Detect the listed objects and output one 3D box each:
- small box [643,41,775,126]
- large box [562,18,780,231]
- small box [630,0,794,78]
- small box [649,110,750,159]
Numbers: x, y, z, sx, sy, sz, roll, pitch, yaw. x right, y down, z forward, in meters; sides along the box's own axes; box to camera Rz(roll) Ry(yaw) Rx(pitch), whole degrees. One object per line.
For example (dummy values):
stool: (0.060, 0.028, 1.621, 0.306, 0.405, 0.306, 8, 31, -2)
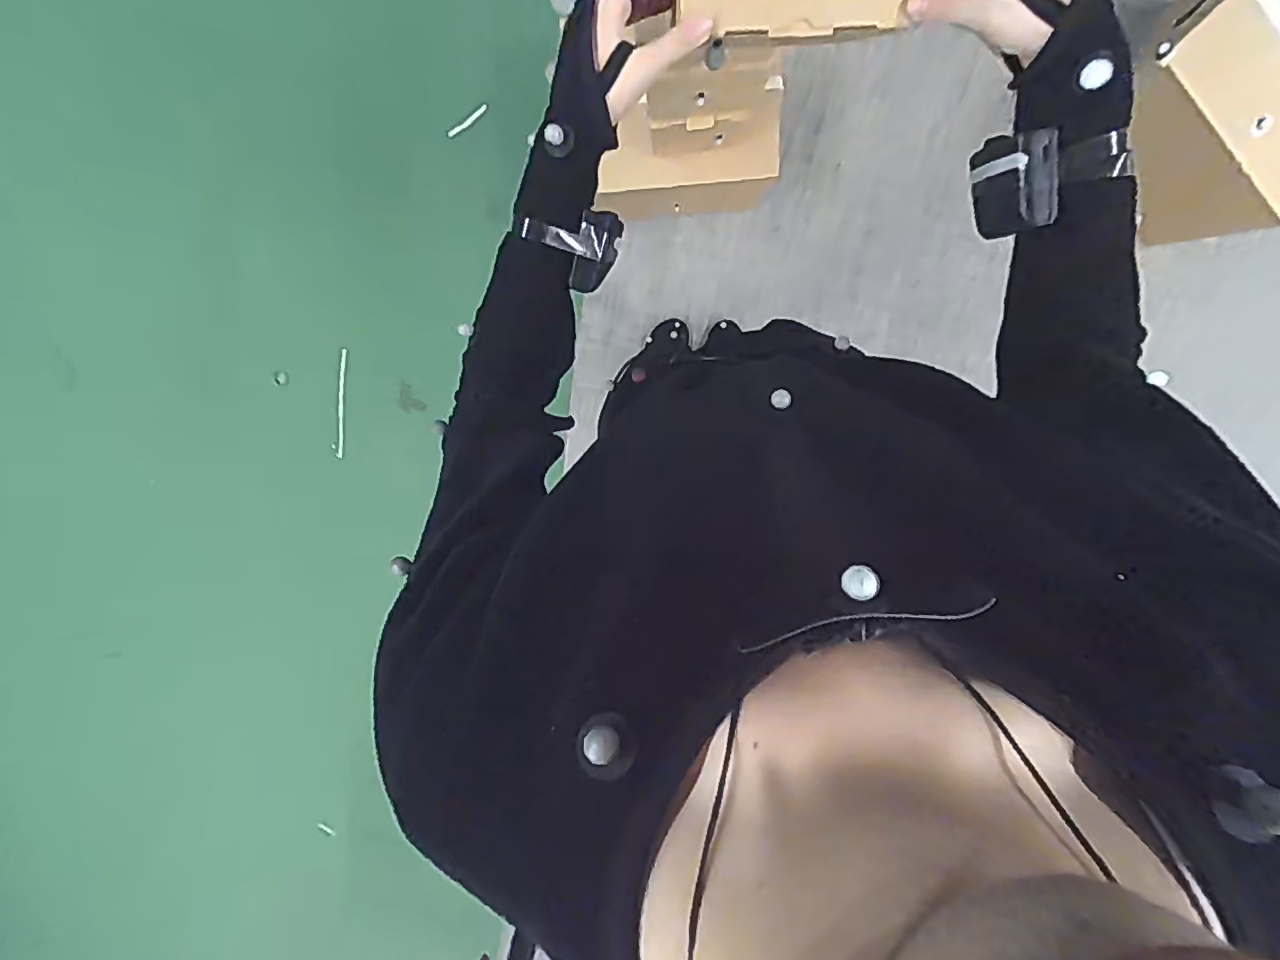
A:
small box: (0.090, -0.635, 0.776, 0.179, 0.176, 0.168, -4, 105, 6)
large box: (0.077, -0.749, 1.170, 0.408, 0.320, 0.320, -3, 104, 7)
small box: (0.075, -0.594, 0.617, 0.179, 0.176, 0.168, -3, 105, 4)
small box: (0.100, -0.675, 0.934, 0.168, 0.176, 0.179, -2, 105, 5)
